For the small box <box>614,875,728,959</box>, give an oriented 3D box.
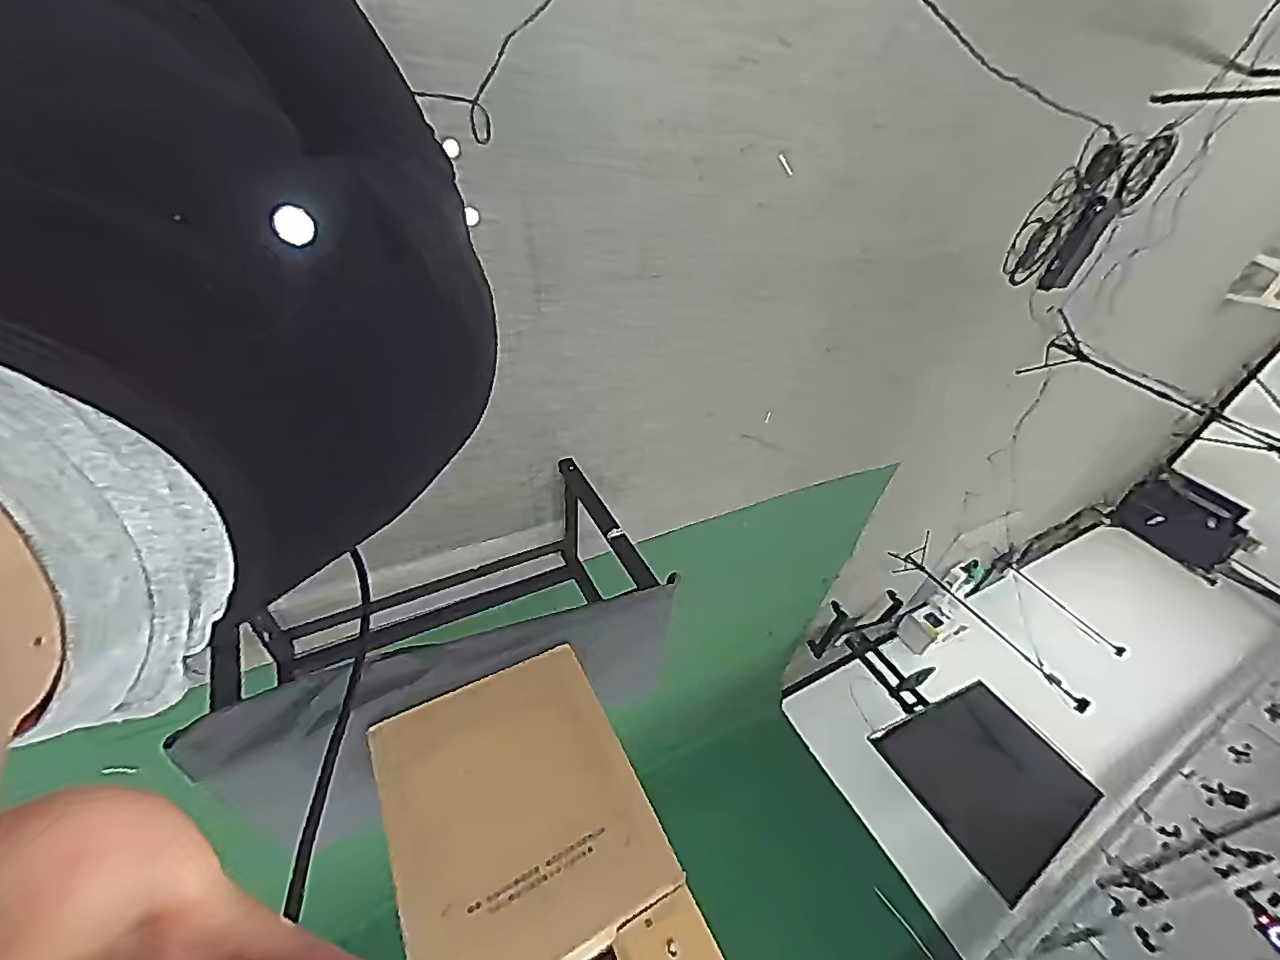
[{"bbox_3d":[0.057,0.975,1.131,0.168,0.176,0.179,-18,136,-26],"label":"small box"}]
